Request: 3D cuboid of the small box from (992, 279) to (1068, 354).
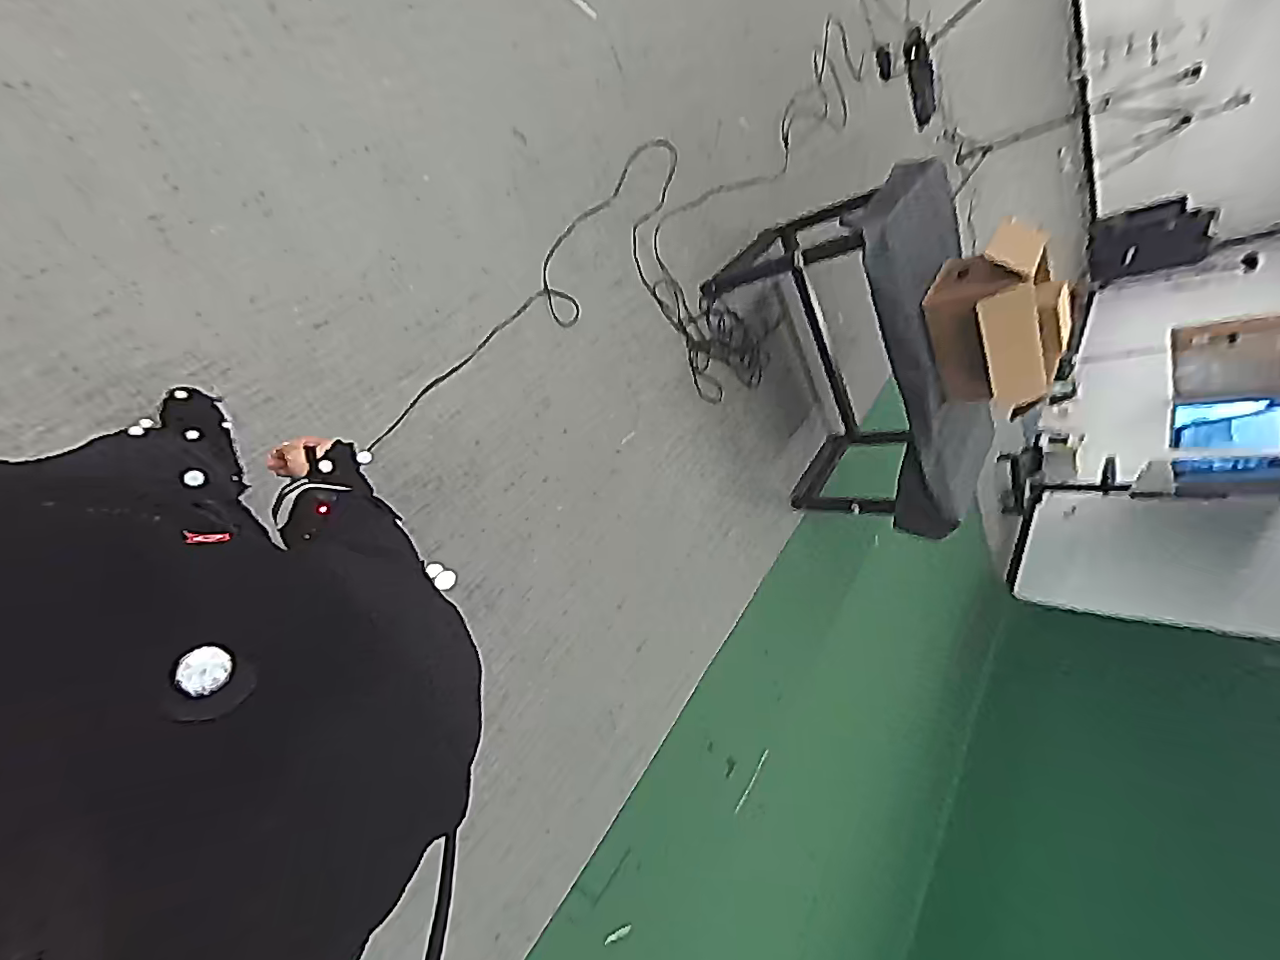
[{"bbox_3d":[1.275,-0.526,1.766,0.168,0.176,0.179,-49,123,-31],"label":"small box"}]
